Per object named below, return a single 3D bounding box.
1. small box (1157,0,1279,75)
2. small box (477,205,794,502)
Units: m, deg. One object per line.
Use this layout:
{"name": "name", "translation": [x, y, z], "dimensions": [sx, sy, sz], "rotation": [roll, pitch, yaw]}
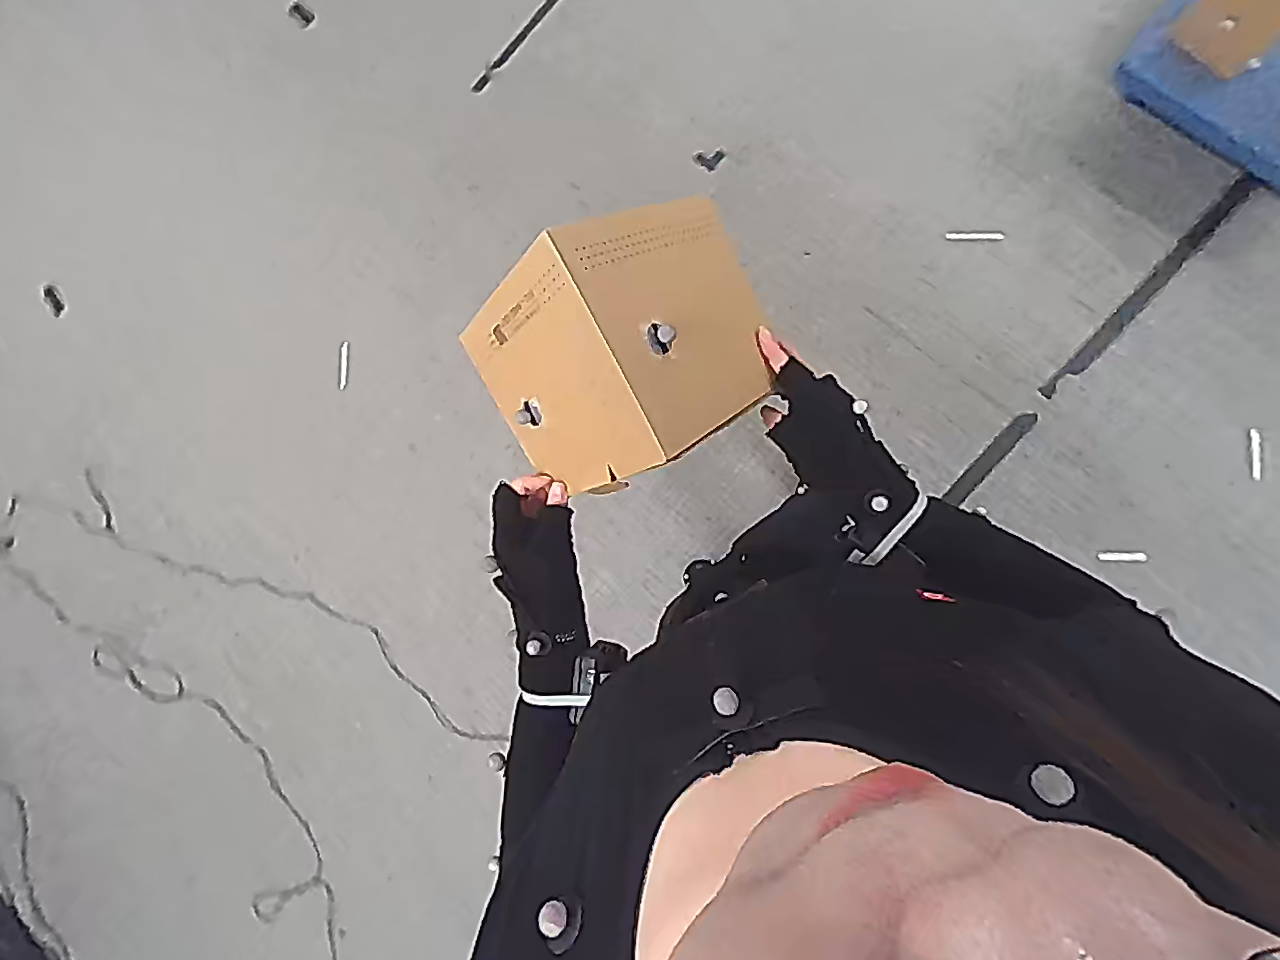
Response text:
{"name": "small box", "translation": [1.281, -1.013, 1.142], "dimensions": [0.168, 0.176, 0.179], "rotation": [-45, 82, 3]}
{"name": "small box", "translation": [-0.008, -0.105, 0.461], "dimensions": [0.179, 0.168, 0.176], "rotation": [-34, 101, -38]}
